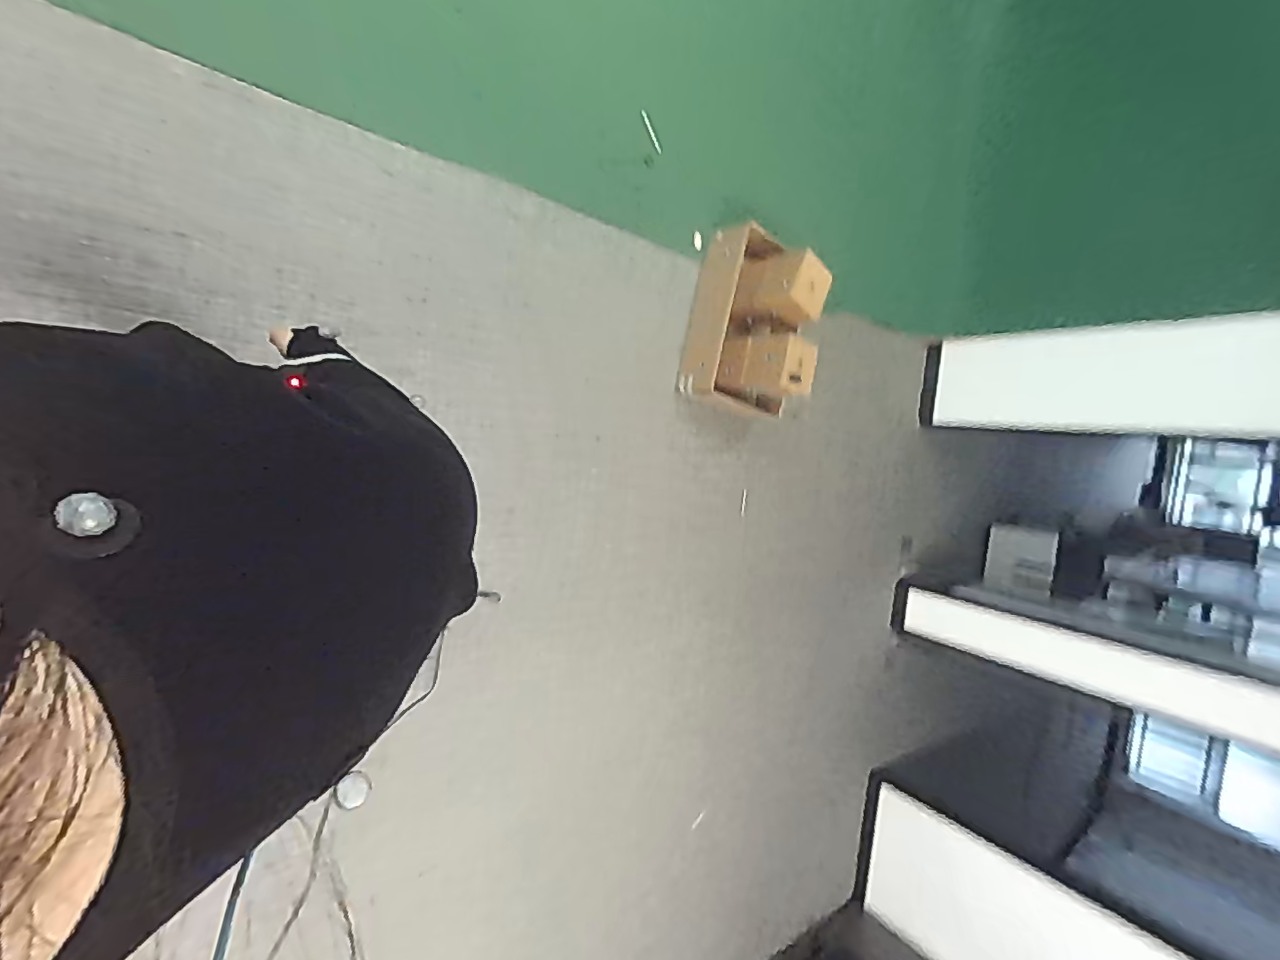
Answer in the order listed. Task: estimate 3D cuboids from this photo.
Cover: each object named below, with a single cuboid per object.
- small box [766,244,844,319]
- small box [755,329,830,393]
[{"bbox_3d":[0.557,-0.668,1.841,0.168,0.176,0.179,25,85,-37],"label":"small box"},{"bbox_3d":[0.519,-0.400,1.854,0.168,0.176,0.179,11,90,-37],"label":"small box"}]
